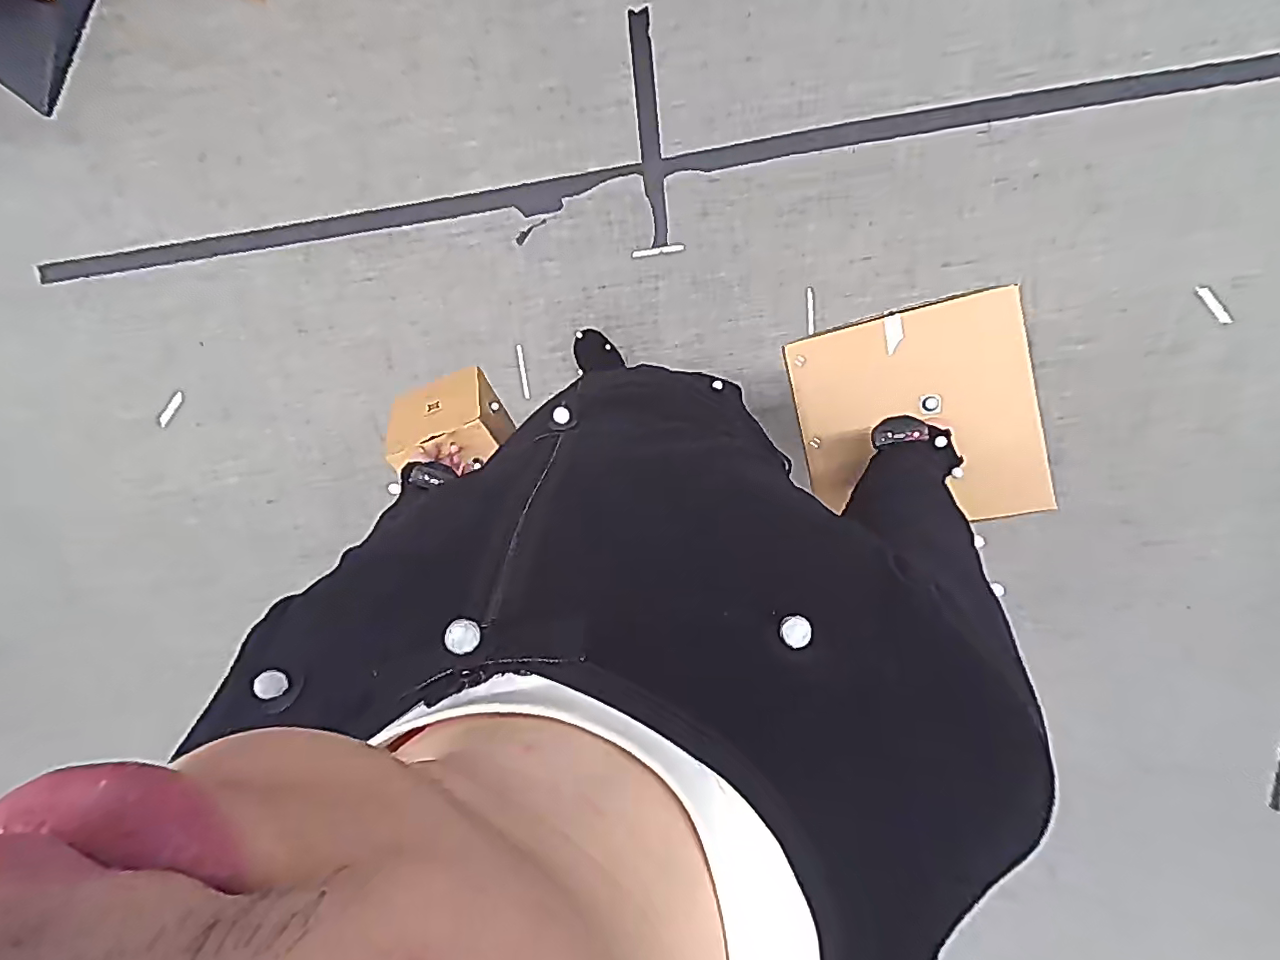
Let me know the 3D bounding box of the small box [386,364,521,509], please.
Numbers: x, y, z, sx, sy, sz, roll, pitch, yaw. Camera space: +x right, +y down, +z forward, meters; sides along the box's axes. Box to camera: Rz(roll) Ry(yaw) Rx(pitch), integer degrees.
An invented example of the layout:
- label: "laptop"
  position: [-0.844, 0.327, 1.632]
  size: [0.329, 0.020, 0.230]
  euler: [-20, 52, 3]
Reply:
- label: "small box"
  position: [-0.325, -0.069, 0.967]
  size: [0.168, 0.179, 0.176]
  euler: [-21, 135, 1]
